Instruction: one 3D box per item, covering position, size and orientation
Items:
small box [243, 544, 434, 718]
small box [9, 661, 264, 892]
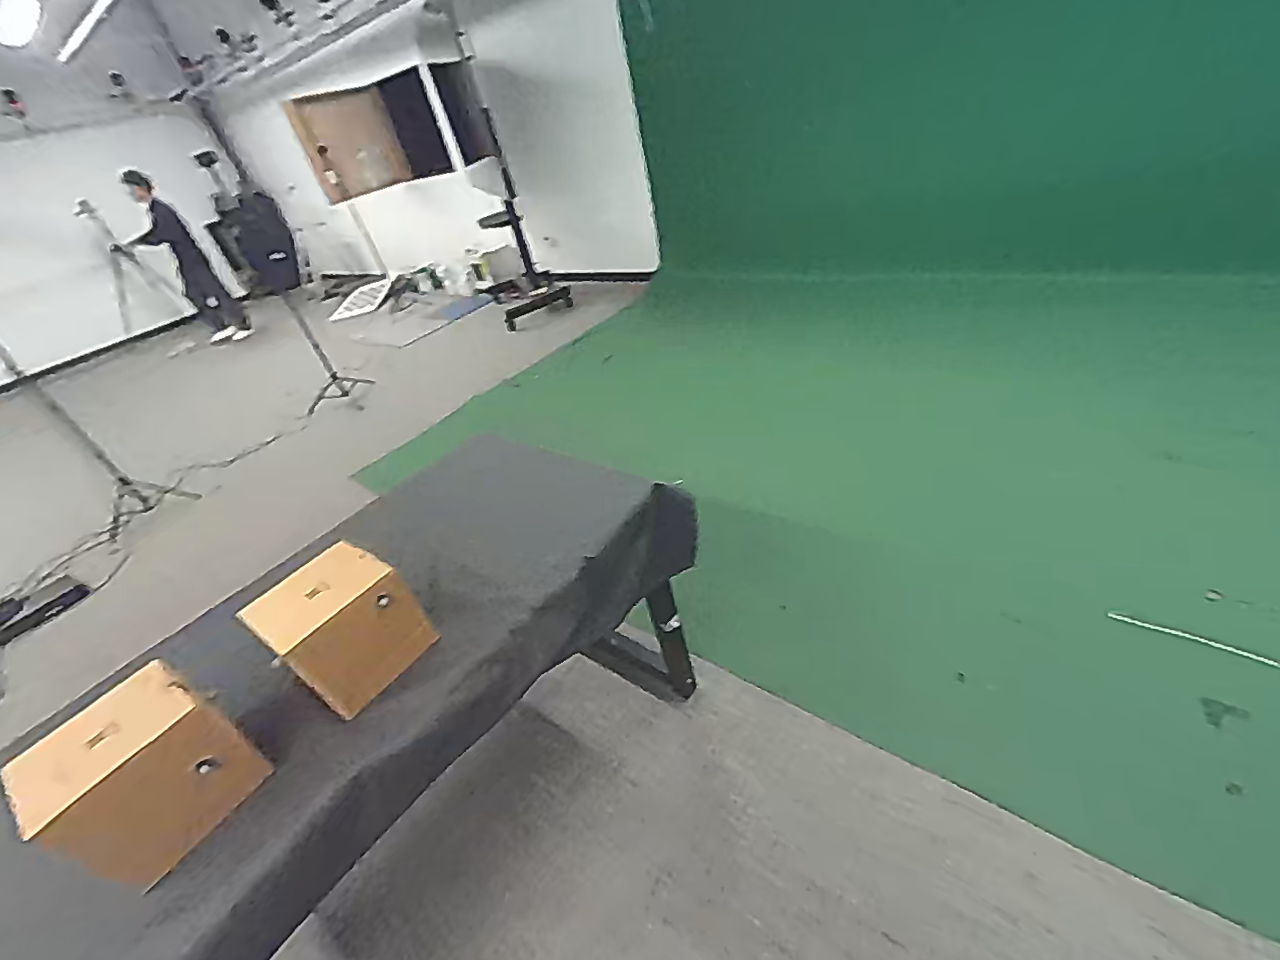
[{"bbox_3d":[-0.464,0.235,0.854,0.168,0.176,0.179,14,43,35],"label":"small box"},{"bbox_3d":[-0.640,0.382,0.711,0.168,0.176,0.179,11,43,34],"label":"small box"}]
